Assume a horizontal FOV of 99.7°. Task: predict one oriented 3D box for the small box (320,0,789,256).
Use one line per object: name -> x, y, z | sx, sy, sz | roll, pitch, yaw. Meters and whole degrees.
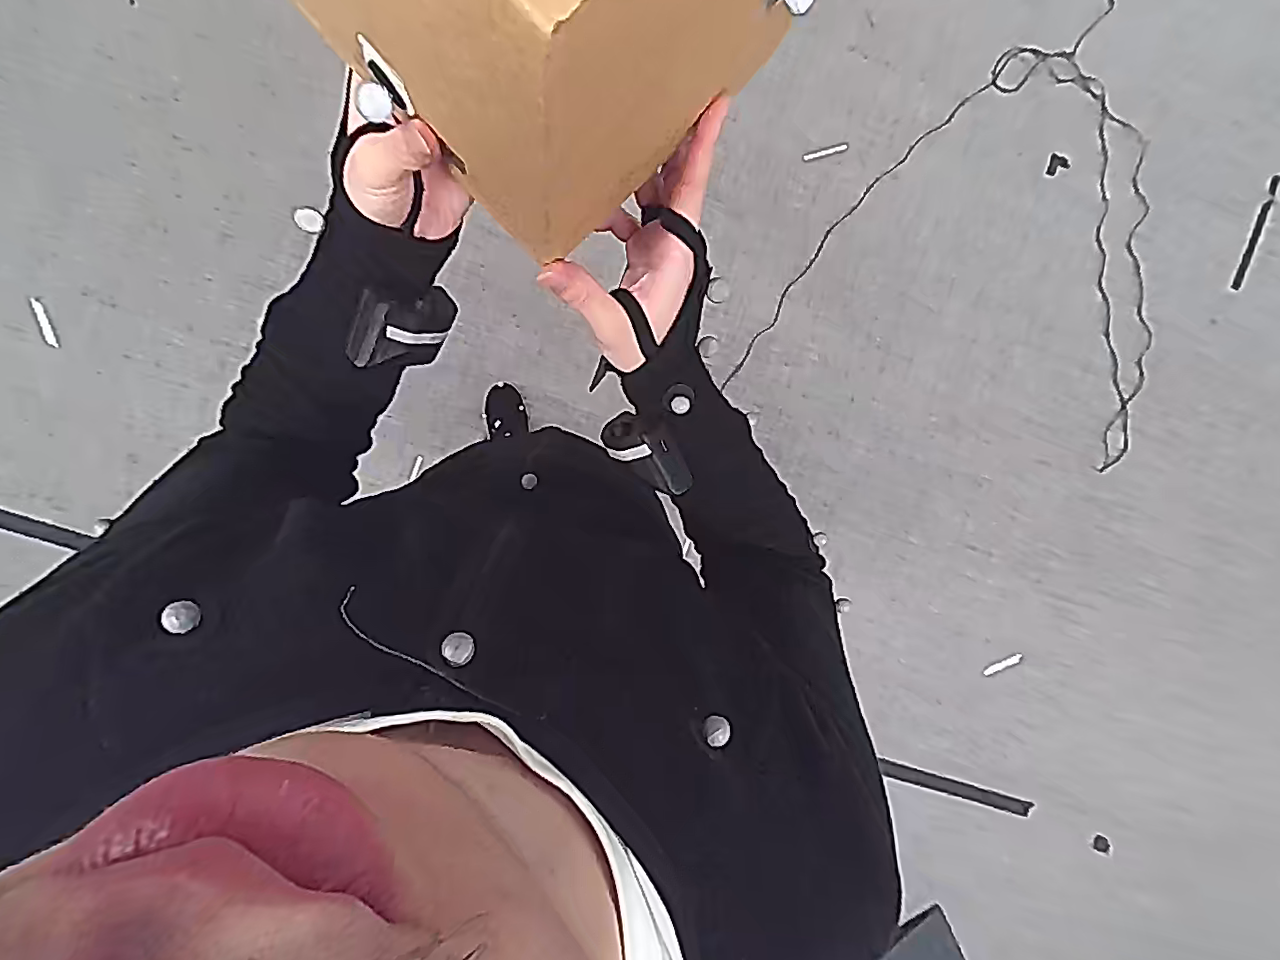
small box -> -0.033, -0.231, 0.215 | 0.168, 0.176, 0.179 | 45, 85, -8
